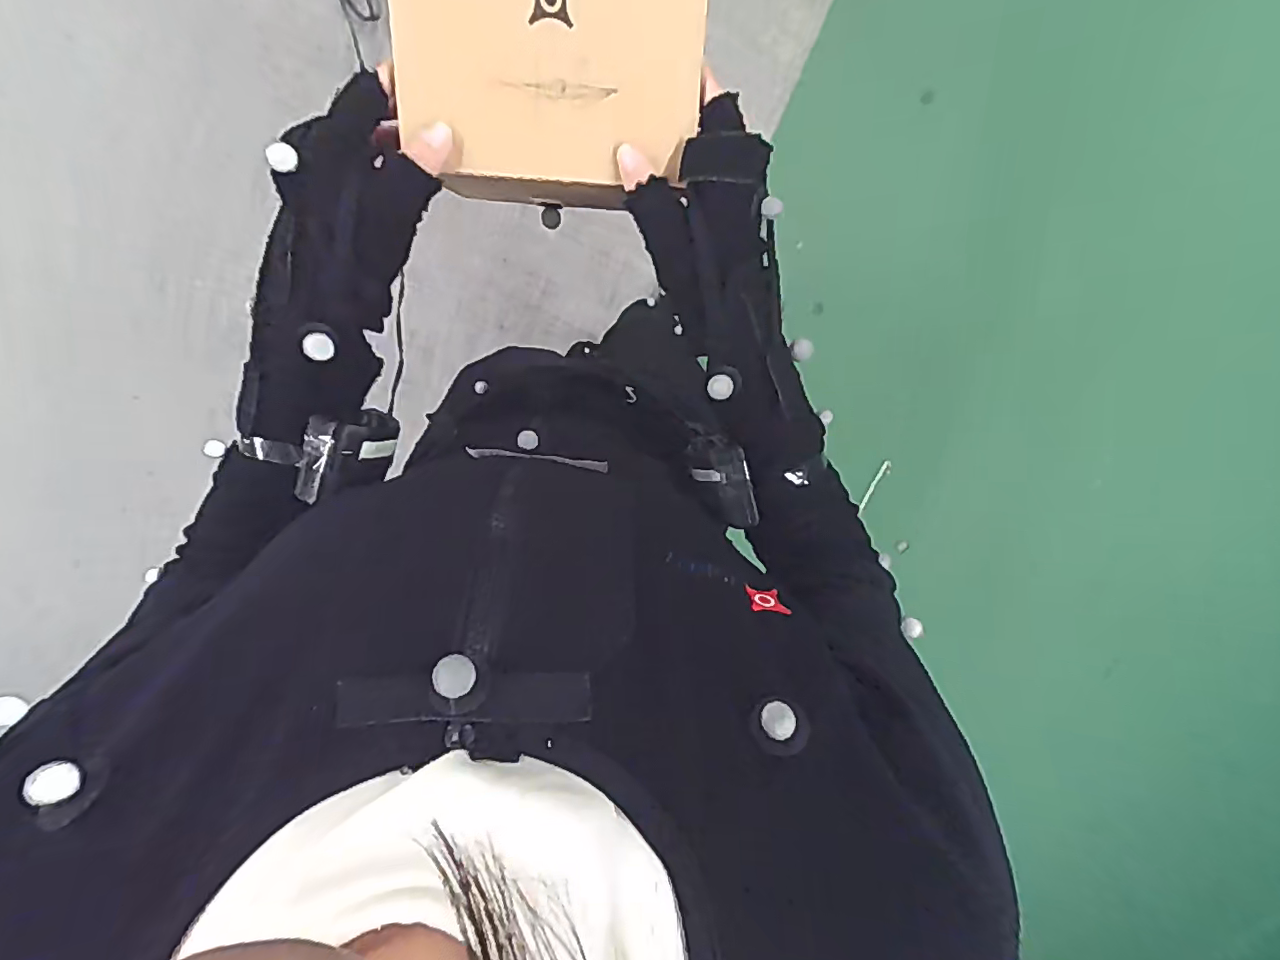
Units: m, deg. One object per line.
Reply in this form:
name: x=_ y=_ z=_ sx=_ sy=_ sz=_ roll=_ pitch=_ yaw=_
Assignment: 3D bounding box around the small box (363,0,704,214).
small box: x=-0.053 y=-0.275 z=0.331 sx=0.168 sy=0.176 sz=0.179 roll=4 pitch=111 yaw=-4
